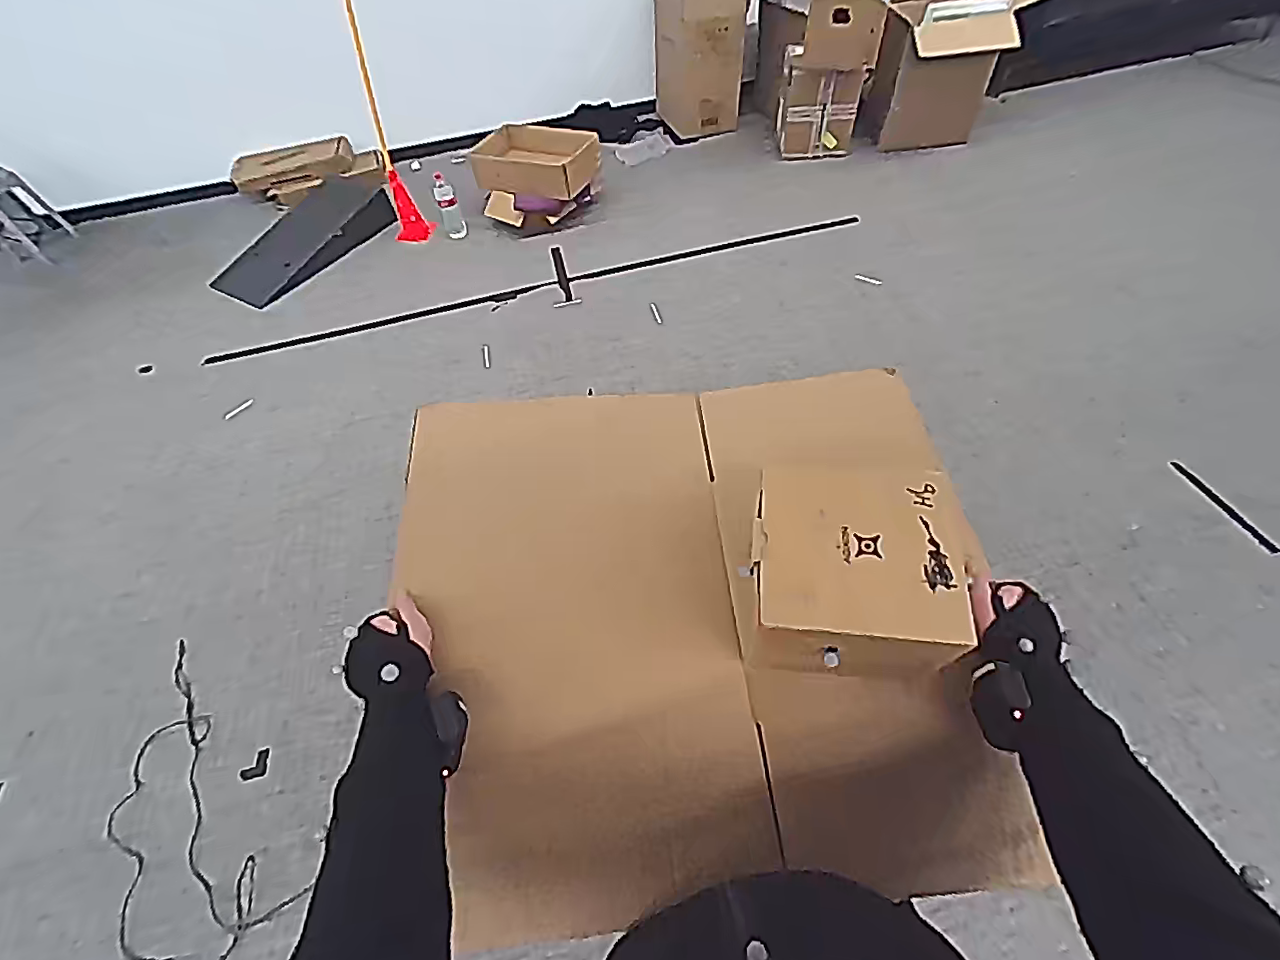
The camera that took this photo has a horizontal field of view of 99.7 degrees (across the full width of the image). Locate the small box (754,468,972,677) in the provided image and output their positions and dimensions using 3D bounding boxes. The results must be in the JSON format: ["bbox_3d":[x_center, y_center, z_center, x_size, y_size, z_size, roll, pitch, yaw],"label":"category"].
[{"bbox_3d":[0.211,0.101,0.565,0.179,0.176,0.168,2,61,11],"label":"small box"}]
